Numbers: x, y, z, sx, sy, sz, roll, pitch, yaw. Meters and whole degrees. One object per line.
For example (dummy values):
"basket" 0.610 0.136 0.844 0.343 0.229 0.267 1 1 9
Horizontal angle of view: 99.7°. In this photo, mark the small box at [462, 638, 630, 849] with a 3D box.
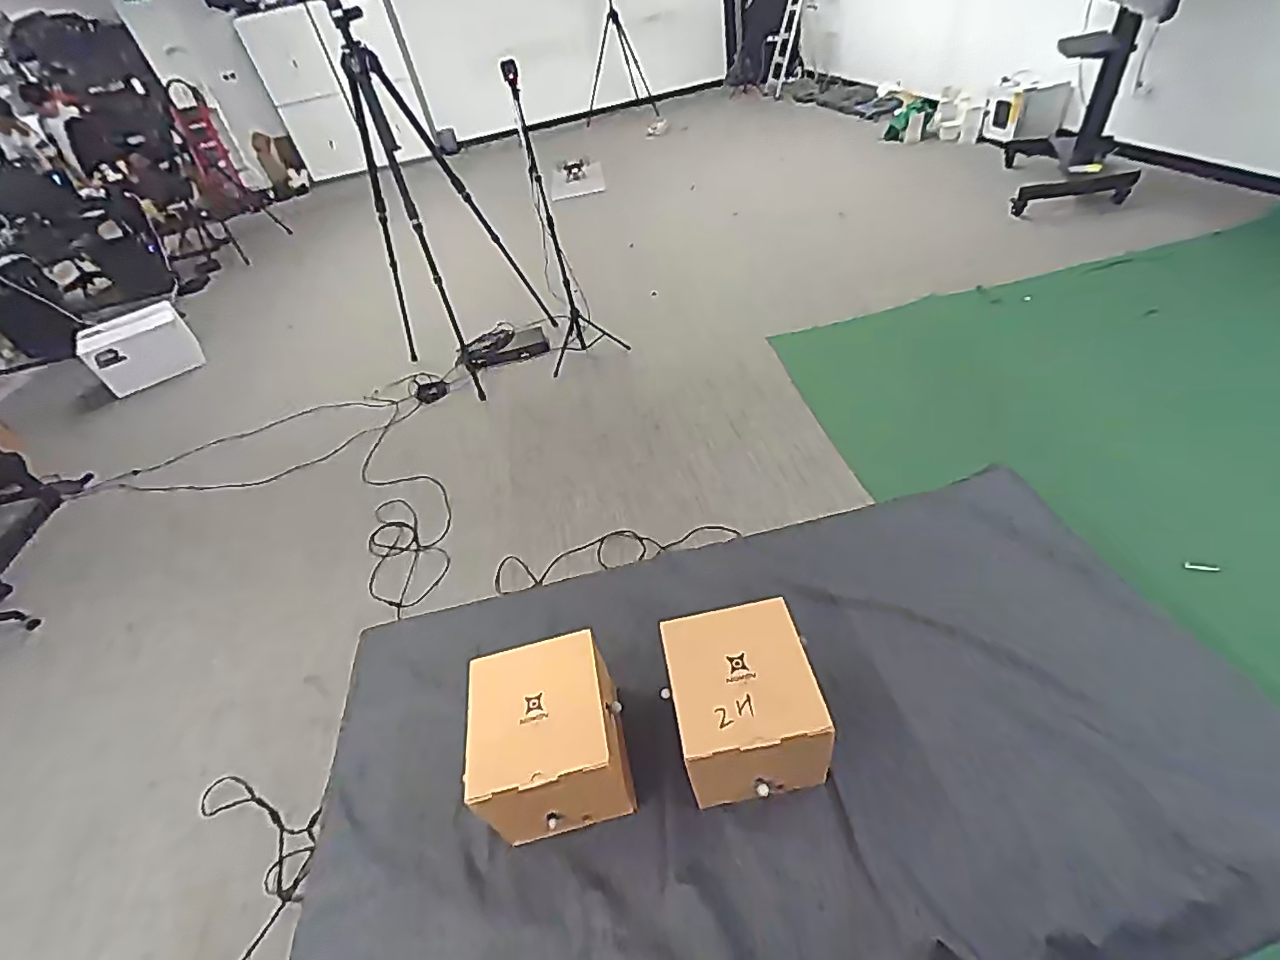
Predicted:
"small box" -0.116 0.340 0.700 0.168 0.176 0.179 -14 42 -2

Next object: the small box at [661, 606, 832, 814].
"small box" 0.127 0.293 0.689 0.168 0.176 0.179 -12 42 1
